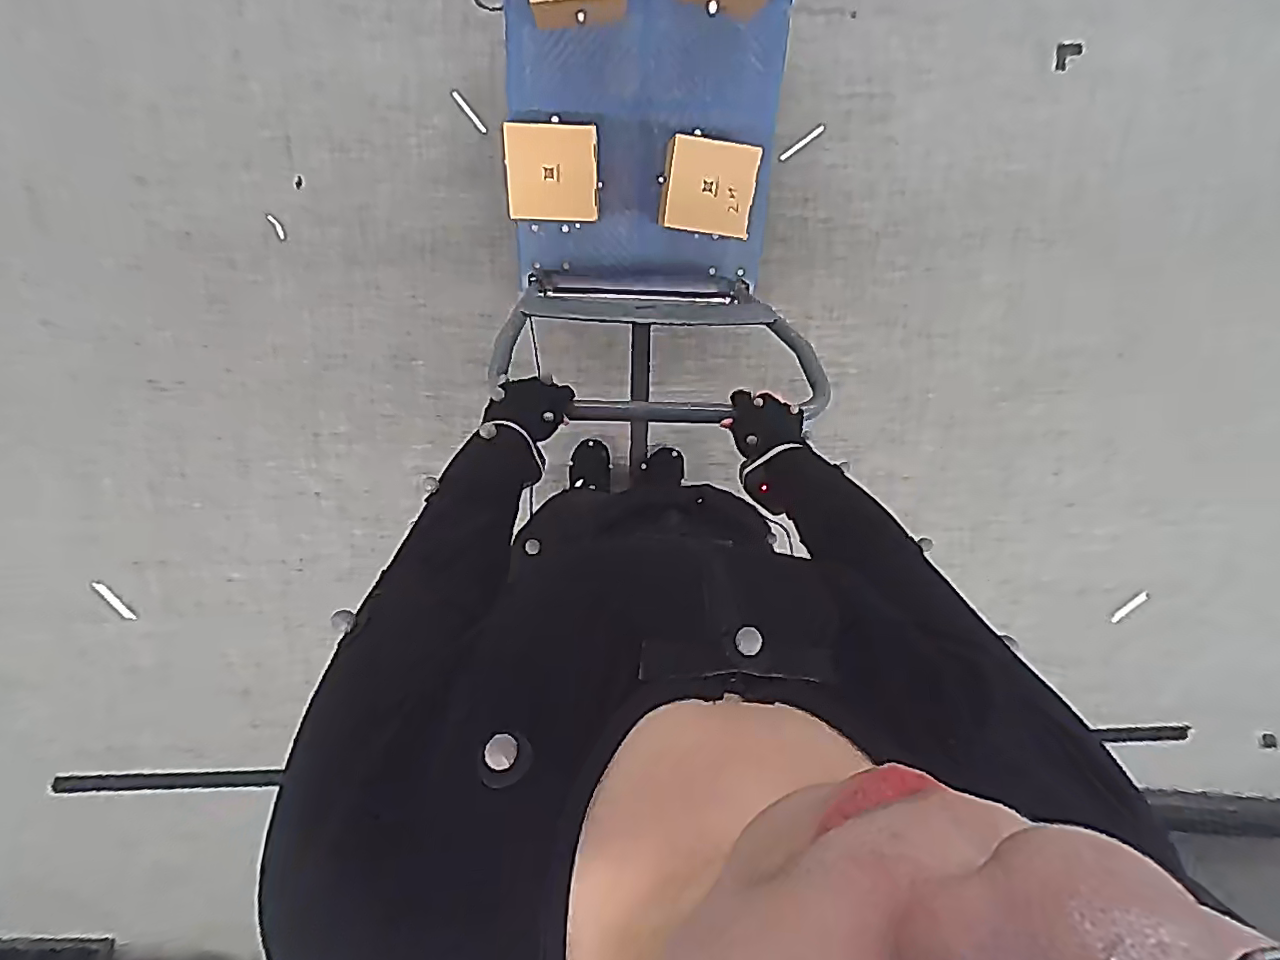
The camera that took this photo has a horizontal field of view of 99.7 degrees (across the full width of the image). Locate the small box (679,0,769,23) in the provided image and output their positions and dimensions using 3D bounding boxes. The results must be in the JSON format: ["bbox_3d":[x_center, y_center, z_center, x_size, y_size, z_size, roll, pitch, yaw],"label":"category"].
[{"bbox_3d":[0.168,-0.975,0.974,0.168,0.176,0.179,11,116,-9],"label":"small box"}]

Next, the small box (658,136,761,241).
[{"bbox_3d":[0.136,-0.613,1.151,0.179,0.176,0.168,6,116,-6],"label":"small box"}]

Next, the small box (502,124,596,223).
[{"bbox_3d":[-0.180,-0.628,1.124,0.179,0.176,0.168,-1,116,-5],"label":"small box"}]
